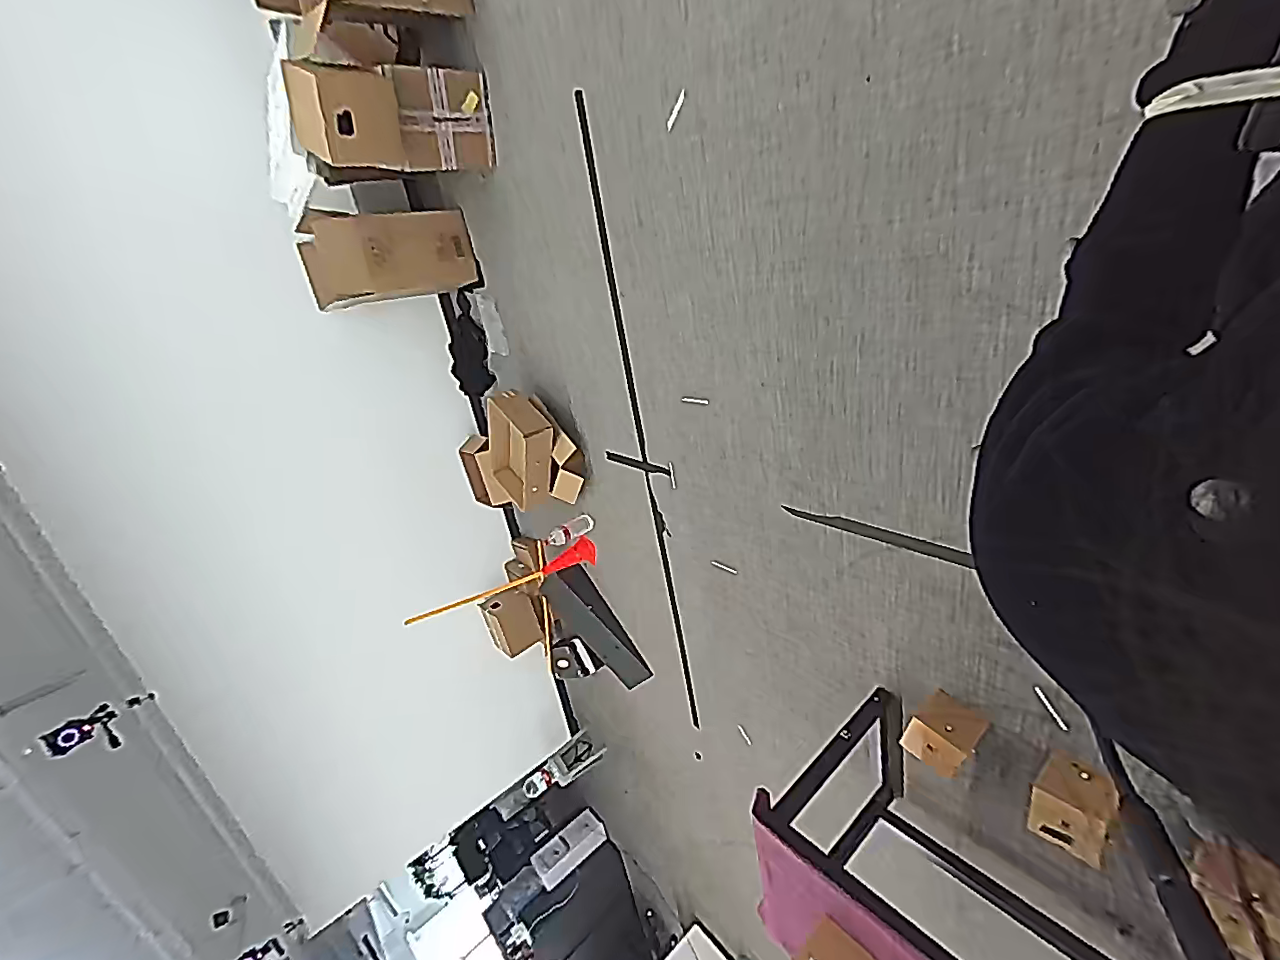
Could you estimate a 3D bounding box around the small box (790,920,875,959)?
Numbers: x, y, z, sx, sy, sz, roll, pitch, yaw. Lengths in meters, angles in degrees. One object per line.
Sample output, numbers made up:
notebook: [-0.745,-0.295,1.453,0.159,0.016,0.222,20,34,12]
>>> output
small box: [0.529,1.350,1.462,0.179,0.176,0.168,19,127,47]

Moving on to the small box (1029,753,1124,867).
small box: [1.236,0.927,1.532,0.168,0.176,0.179,16,123,49]

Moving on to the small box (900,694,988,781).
small box: [1.010,0.843,1.796,0.179,0.176,0.168,33,136,36]

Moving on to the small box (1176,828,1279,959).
small box: [1.438,0.997,1.298,0.168,0.176,0.179,18,127,48]
